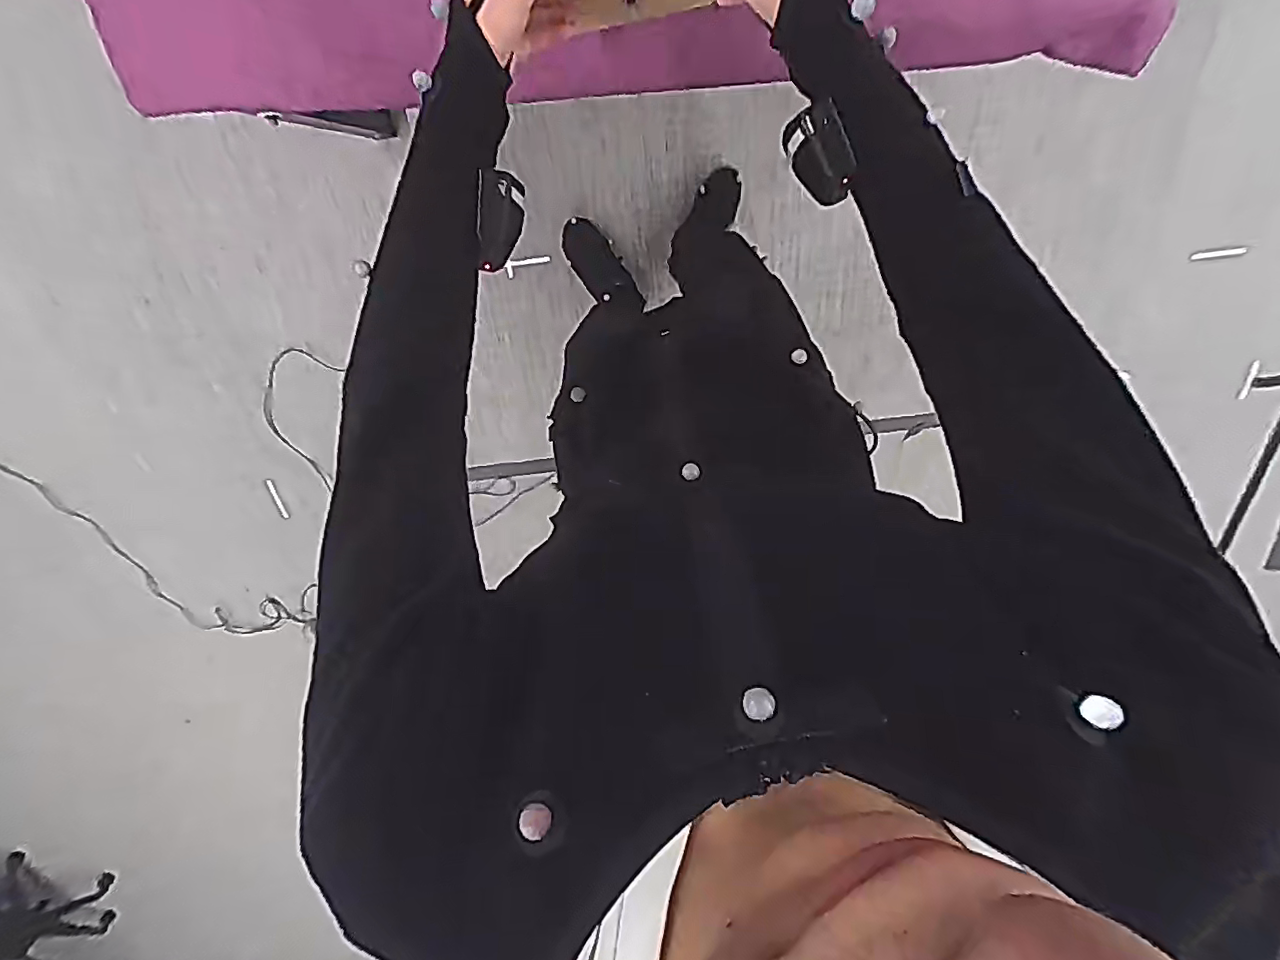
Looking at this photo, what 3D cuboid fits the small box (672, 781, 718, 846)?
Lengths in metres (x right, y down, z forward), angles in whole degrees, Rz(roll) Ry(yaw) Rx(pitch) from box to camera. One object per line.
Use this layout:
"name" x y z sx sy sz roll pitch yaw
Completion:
"small box" 0.226 1.395 2.267 0.179 0.176 0.168 -5 119 -1

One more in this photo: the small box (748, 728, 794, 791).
"small box" 0.587 1.242 2.405 0.168 0.176 0.179 -13 119 2

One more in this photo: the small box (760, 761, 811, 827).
"small box" 0.608 1.314 2.260 0.168 0.176 0.179 -12 118 0
